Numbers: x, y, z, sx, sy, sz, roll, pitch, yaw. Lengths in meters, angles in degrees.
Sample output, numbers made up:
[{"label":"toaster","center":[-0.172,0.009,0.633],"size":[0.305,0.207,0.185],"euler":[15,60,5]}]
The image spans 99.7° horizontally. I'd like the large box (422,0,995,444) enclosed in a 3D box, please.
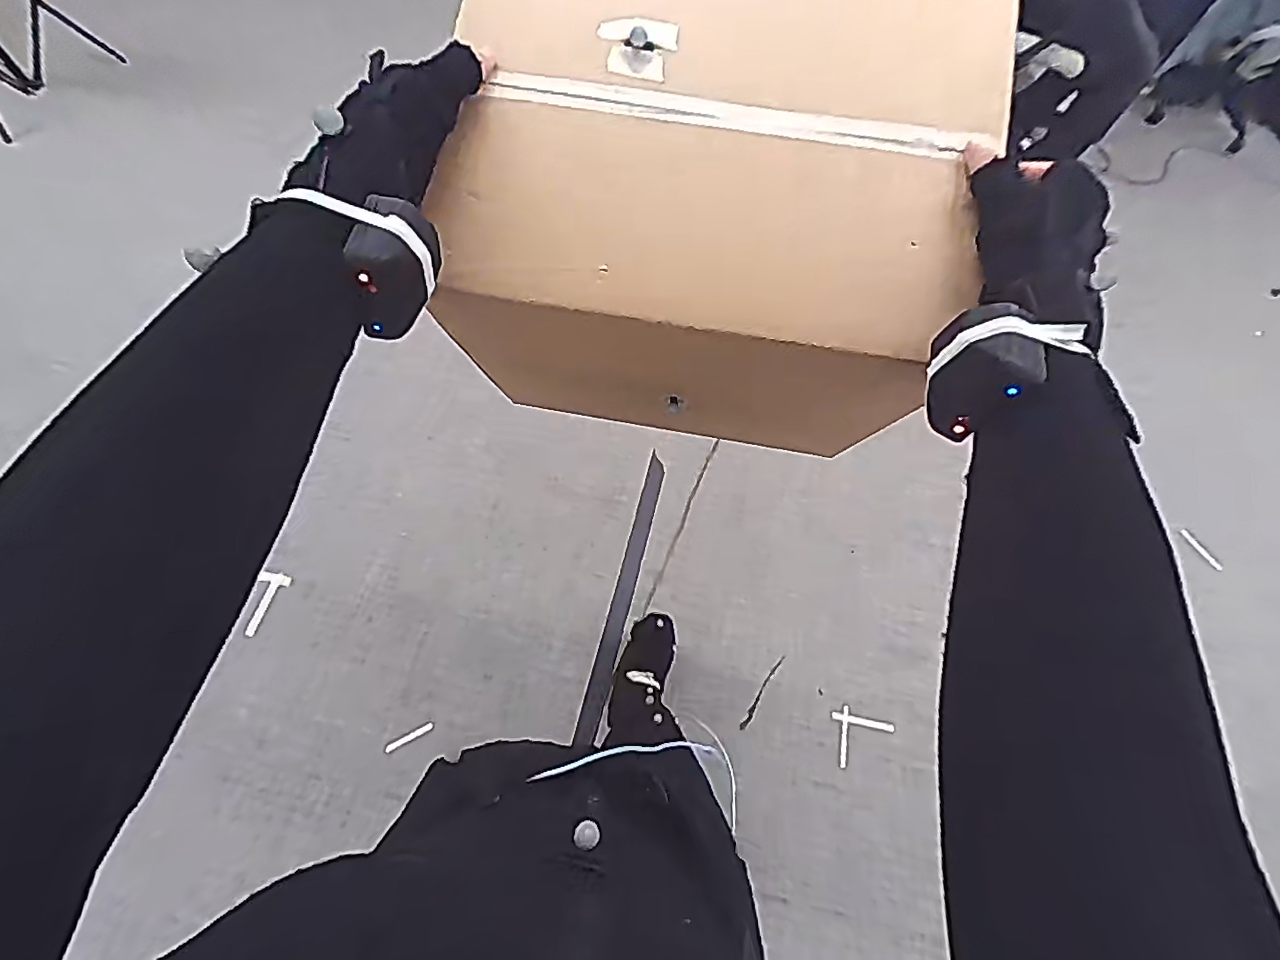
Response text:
[{"label":"large box","center":[0.064,-0.238,0.558],"size":[0.408,0.320,0.320],"euler":[10,81,4]}]
